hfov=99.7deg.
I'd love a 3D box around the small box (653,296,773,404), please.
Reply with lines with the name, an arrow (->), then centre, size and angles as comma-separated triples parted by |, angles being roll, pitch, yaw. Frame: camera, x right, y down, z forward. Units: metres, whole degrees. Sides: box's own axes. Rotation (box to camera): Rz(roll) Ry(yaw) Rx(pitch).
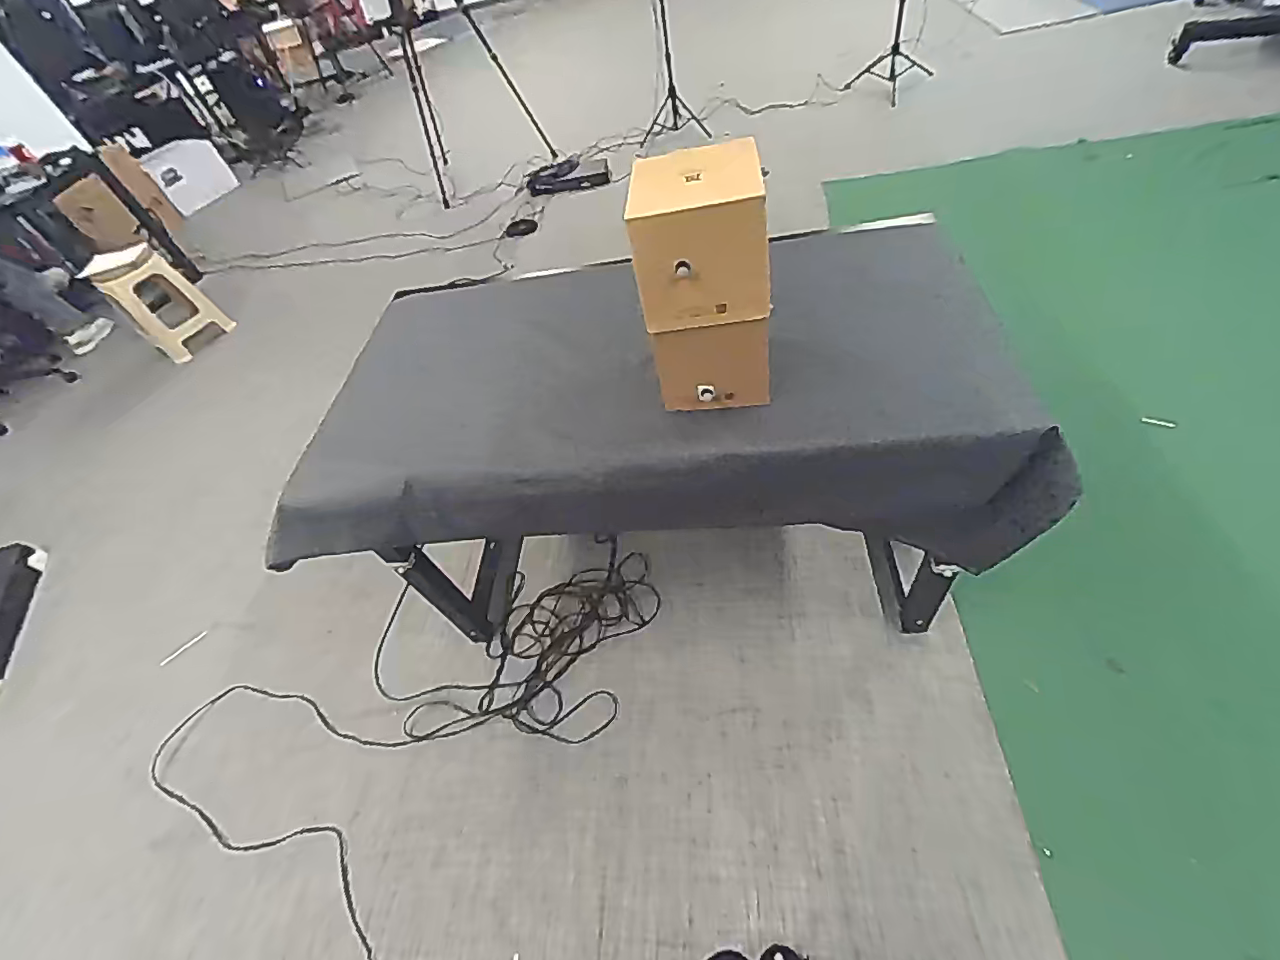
small box -> 0.119, -0.243, 0.850 | 0.168, 0.176, 0.179 | -4, 52, 12

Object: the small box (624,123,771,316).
small box -> 0.083, -0.335, 0.721 | 0.168, 0.176, 0.179 | -5, 50, 11
